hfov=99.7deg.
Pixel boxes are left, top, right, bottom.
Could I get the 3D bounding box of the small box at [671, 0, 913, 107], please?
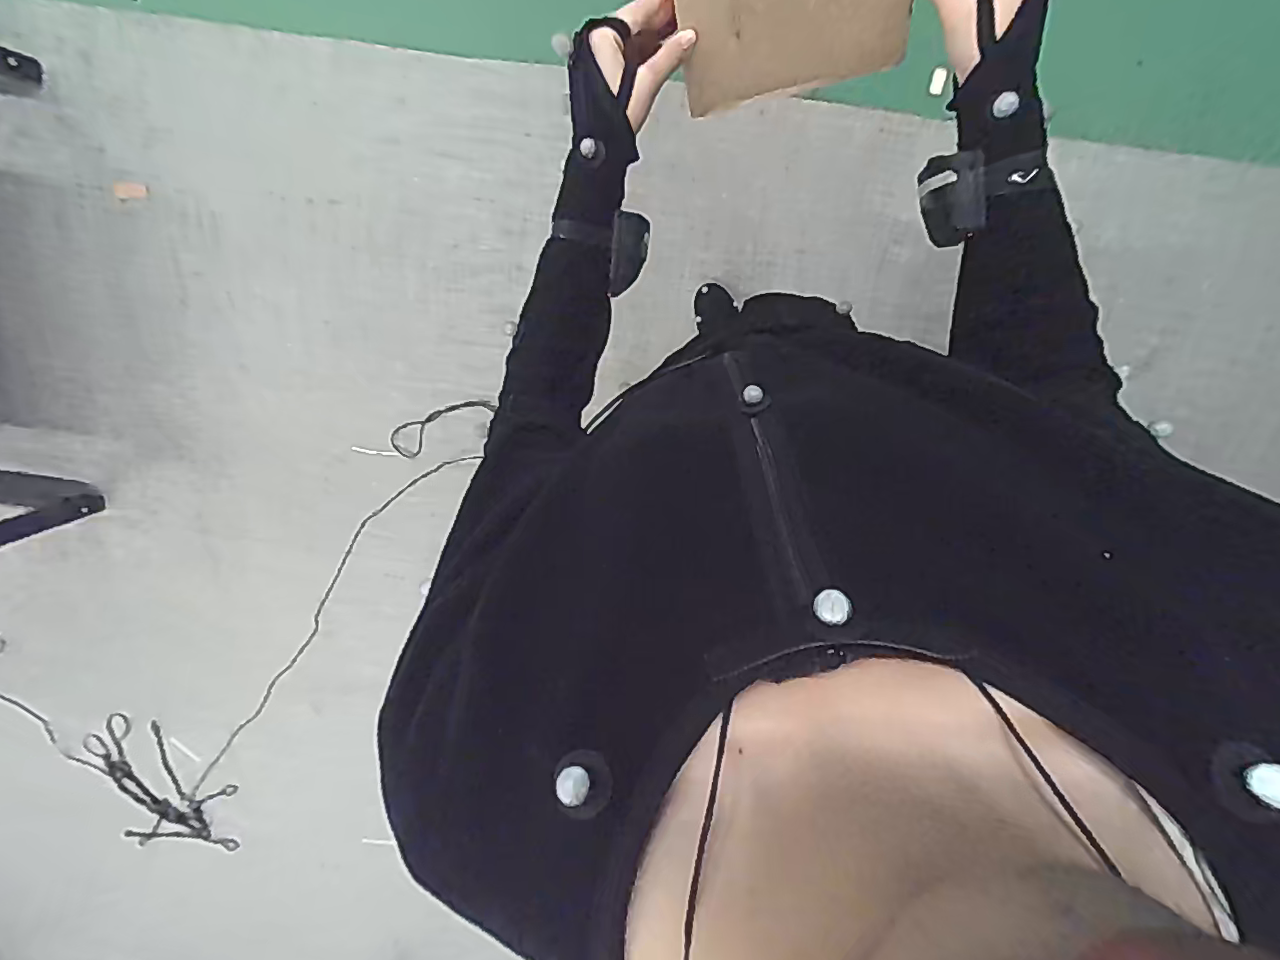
[{"bbox_3d":[0.104,-0.436,0.417,0.179,0.176,0.168,-8,145,12],"label":"small box"}]
